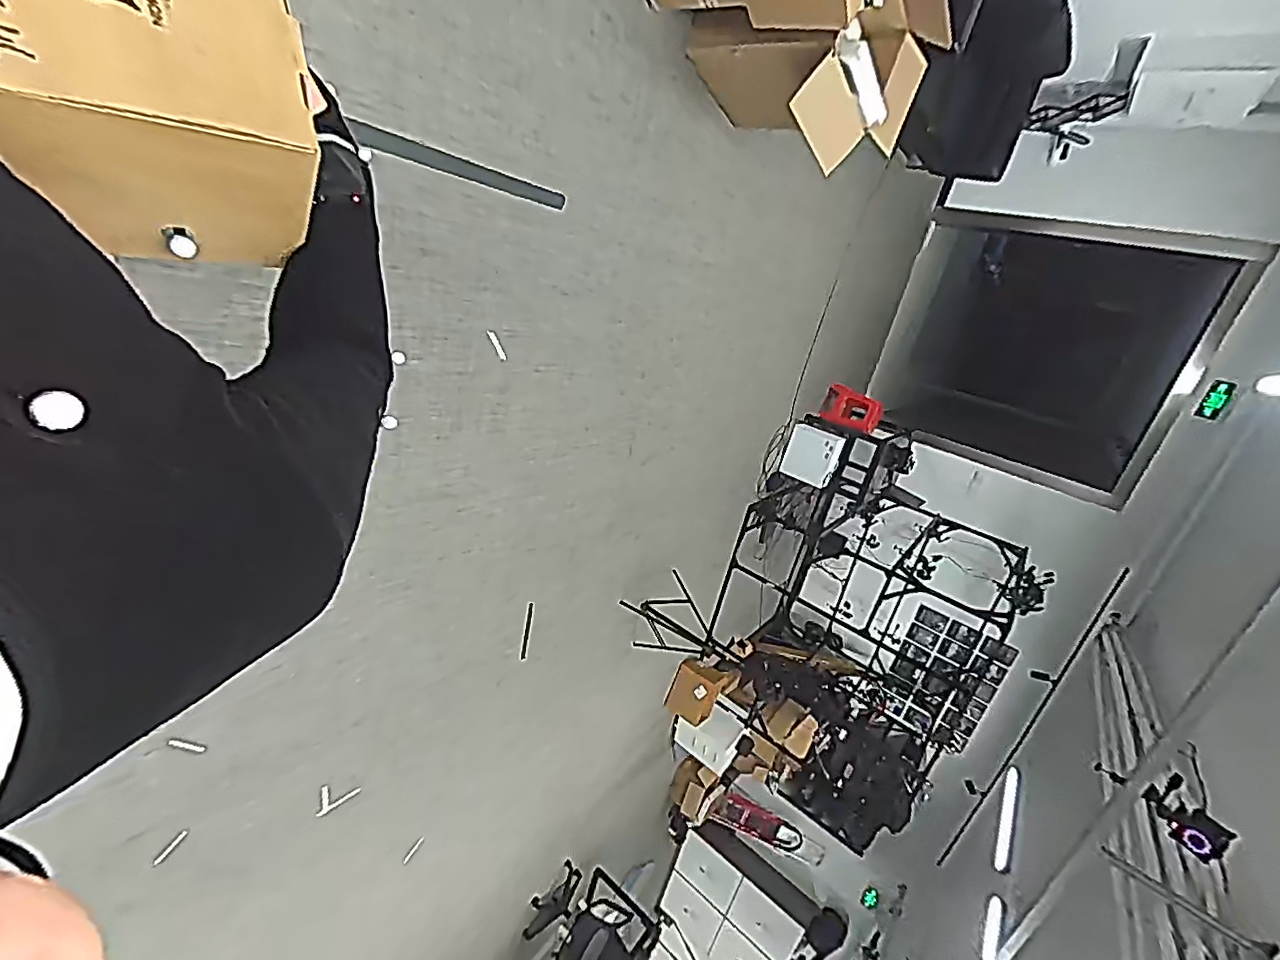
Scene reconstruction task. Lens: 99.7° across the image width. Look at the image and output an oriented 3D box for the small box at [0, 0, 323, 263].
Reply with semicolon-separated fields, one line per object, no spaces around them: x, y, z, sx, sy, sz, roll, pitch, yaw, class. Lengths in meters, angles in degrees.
-0.366;-0.287;0.413;0.179;0.176;0.168;-11;85;-38;small box
